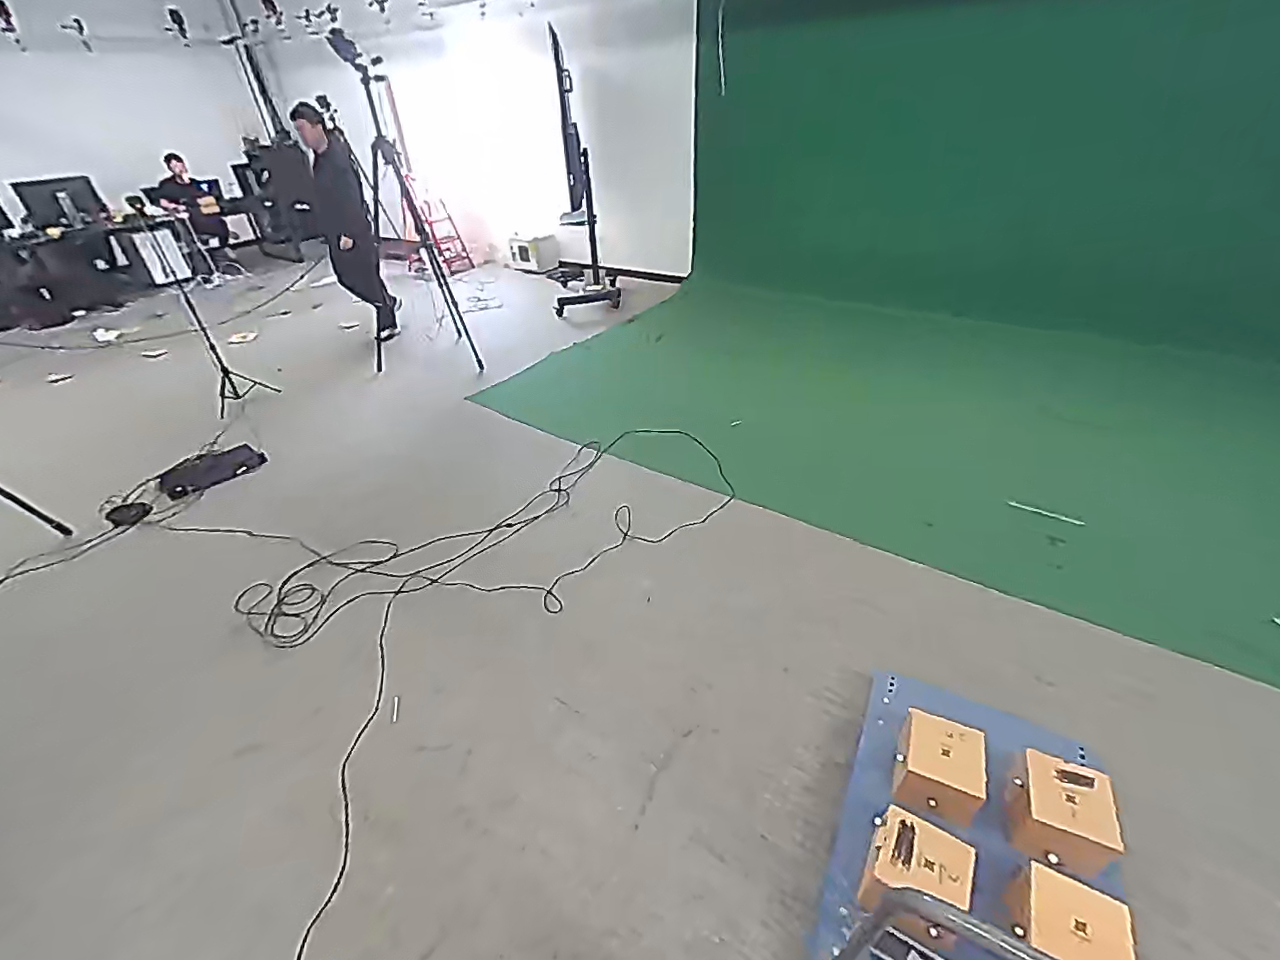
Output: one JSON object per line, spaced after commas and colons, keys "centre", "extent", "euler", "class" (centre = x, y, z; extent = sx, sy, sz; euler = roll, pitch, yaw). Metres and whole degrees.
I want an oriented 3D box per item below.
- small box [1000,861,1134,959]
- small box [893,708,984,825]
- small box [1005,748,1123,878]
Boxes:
{"centre": [0.842, 0.922, 1.077], "extent": [0.168, 0.176, 0.179], "euler": [17, 41, 25], "class": "small box"}
{"centre": [0.745, 0.720, 1.356], "extent": [0.168, 0.176, 0.179], "euler": [15, 40, 22], "class": "small box"}
{"centre": [0.974, 0.775, 1.263], "extent": [0.168, 0.176, 0.179], "euler": [13, 40, 23], "class": "small box"}
